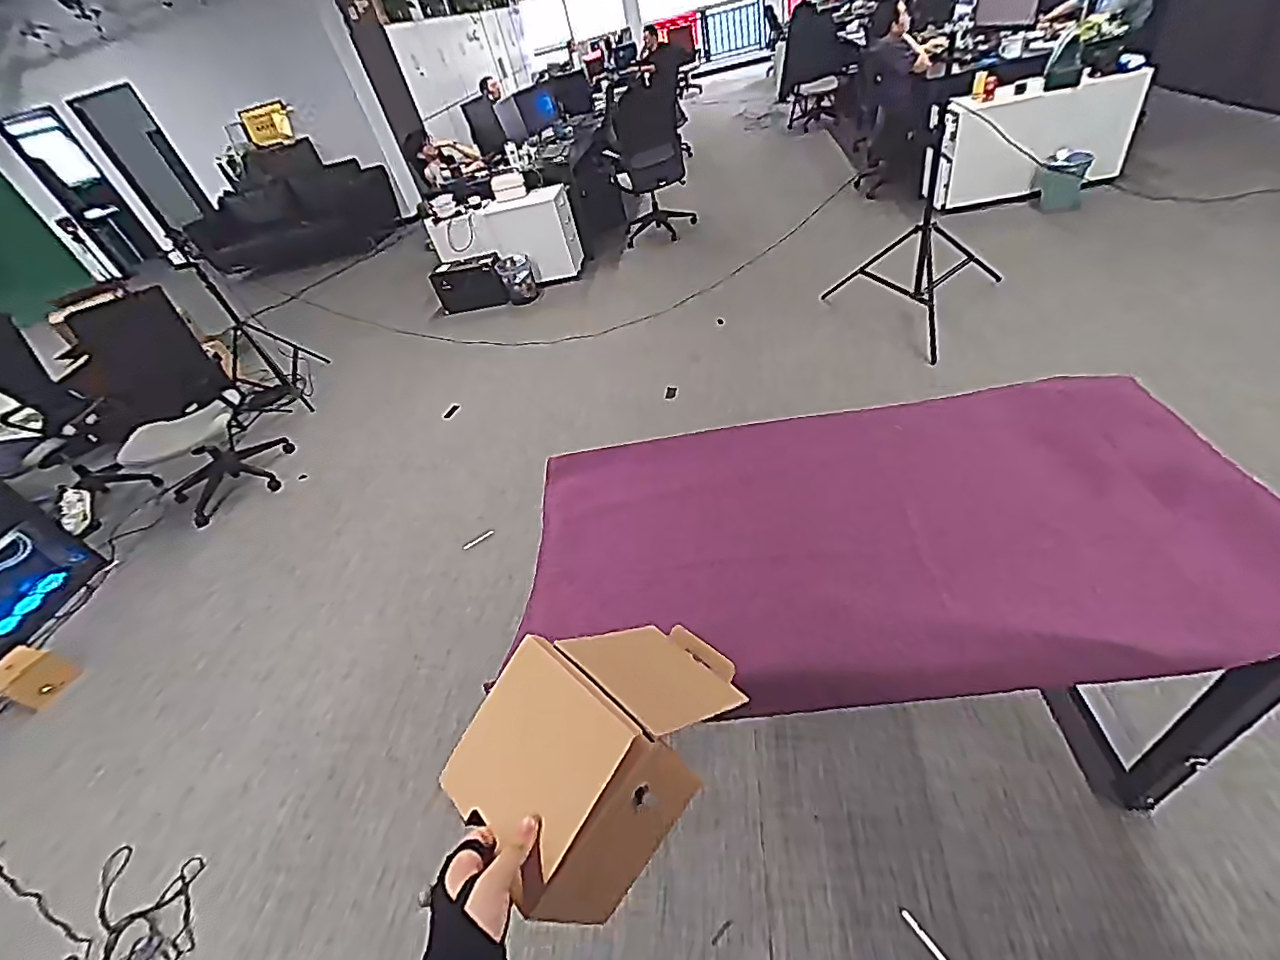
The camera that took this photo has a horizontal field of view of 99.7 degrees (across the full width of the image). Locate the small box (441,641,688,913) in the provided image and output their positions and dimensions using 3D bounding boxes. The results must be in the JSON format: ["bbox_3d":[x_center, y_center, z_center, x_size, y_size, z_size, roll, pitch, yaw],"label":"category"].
[{"bbox_3d":[-0.067,0.316,0.581,0.168,0.176,0.179,27,67,41],"label":"small box"}]
